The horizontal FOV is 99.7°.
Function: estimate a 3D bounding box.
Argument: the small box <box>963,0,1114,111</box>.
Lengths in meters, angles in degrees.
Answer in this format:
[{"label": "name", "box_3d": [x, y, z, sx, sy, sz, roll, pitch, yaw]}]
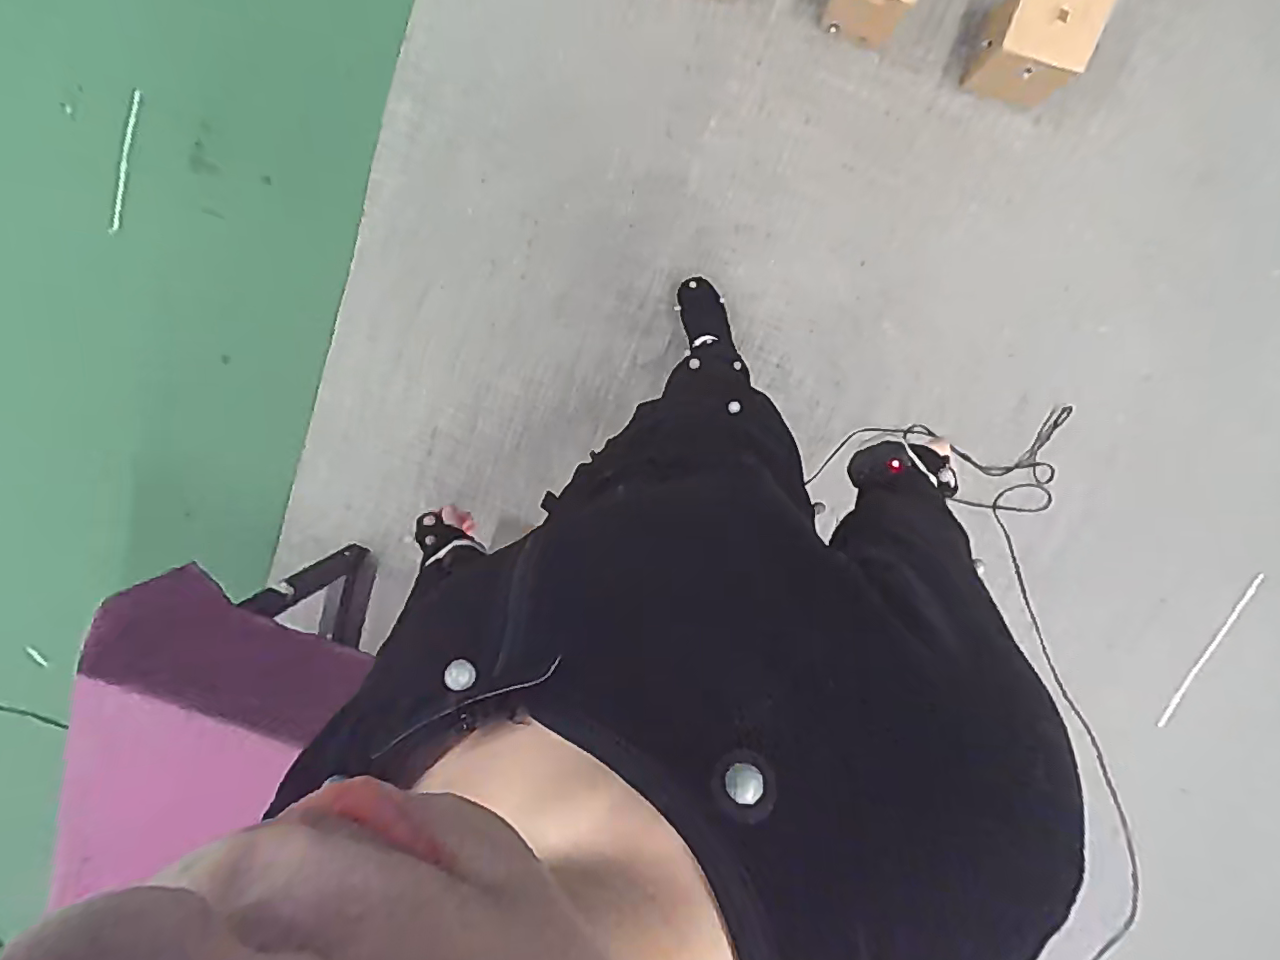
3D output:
[{"label": "small box", "box_3d": [0.834, -0.926, 1.149, 0.179, 0.176, 0.168, 19, 103, 1]}]

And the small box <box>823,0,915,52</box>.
[{"label": "small box", "box_3d": [0.509, -1.068, 1.148, 0.168, 0.176, 0.179, 21, 102, 0]}]
